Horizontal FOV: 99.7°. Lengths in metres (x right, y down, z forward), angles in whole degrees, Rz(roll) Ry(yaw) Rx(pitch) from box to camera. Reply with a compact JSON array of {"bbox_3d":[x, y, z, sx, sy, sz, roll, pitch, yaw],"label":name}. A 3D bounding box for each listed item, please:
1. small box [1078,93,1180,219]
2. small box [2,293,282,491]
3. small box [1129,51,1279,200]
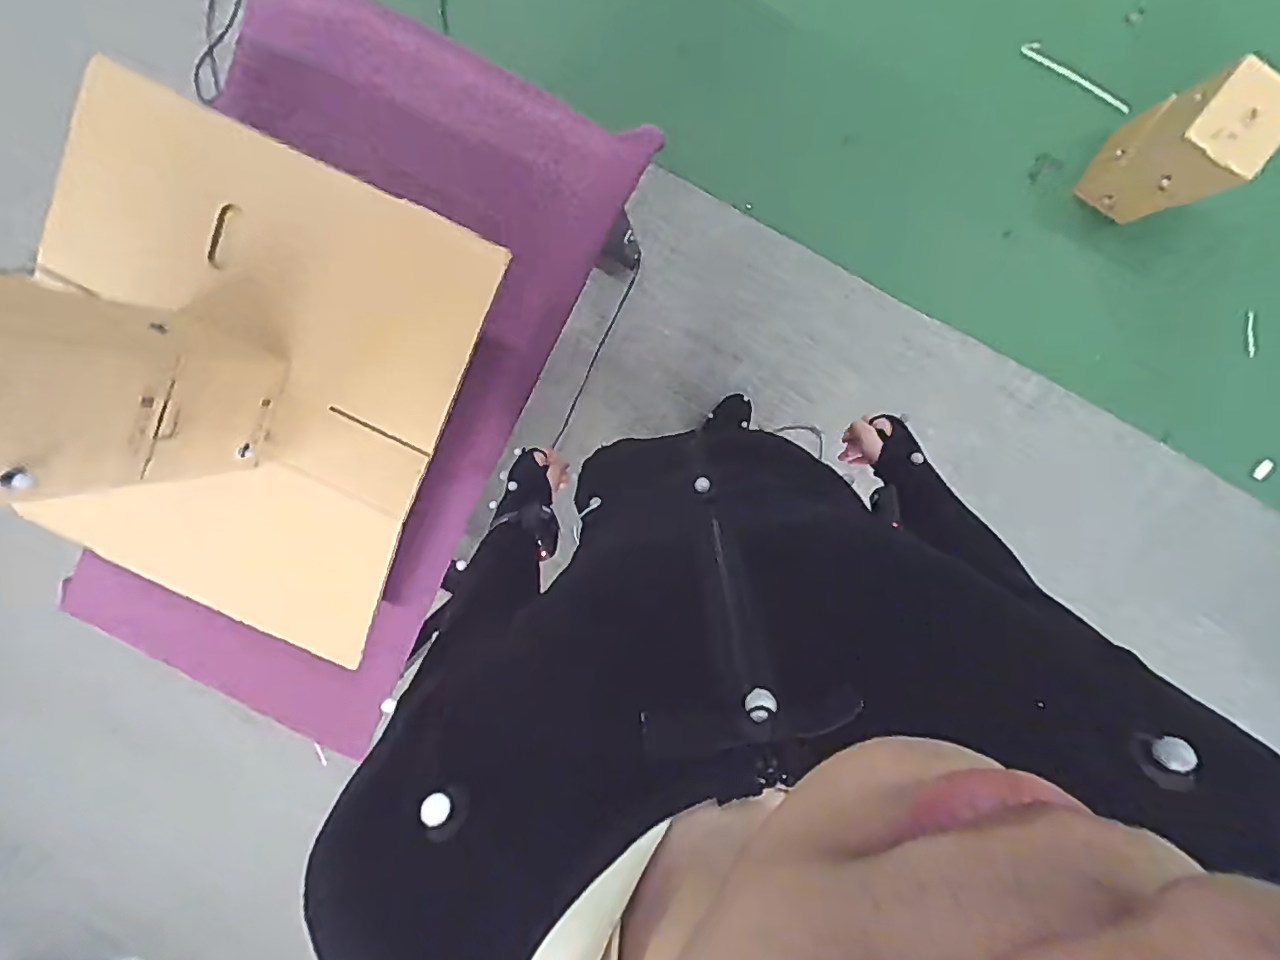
[{"bbox_3d":[1.233,-0.774,1.311,0.168,0.176,0.179,32,102,-1],"label":"small box"},{"bbox_3d":[-0.595,-0.106,0.669,0.179,0.176,0.168,25,99,1],"label":"small box"},{"bbox_3d":[1.219,-0.739,1.151,0.168,0.176,0.179,34,102,-1],"label":"small box"}]
